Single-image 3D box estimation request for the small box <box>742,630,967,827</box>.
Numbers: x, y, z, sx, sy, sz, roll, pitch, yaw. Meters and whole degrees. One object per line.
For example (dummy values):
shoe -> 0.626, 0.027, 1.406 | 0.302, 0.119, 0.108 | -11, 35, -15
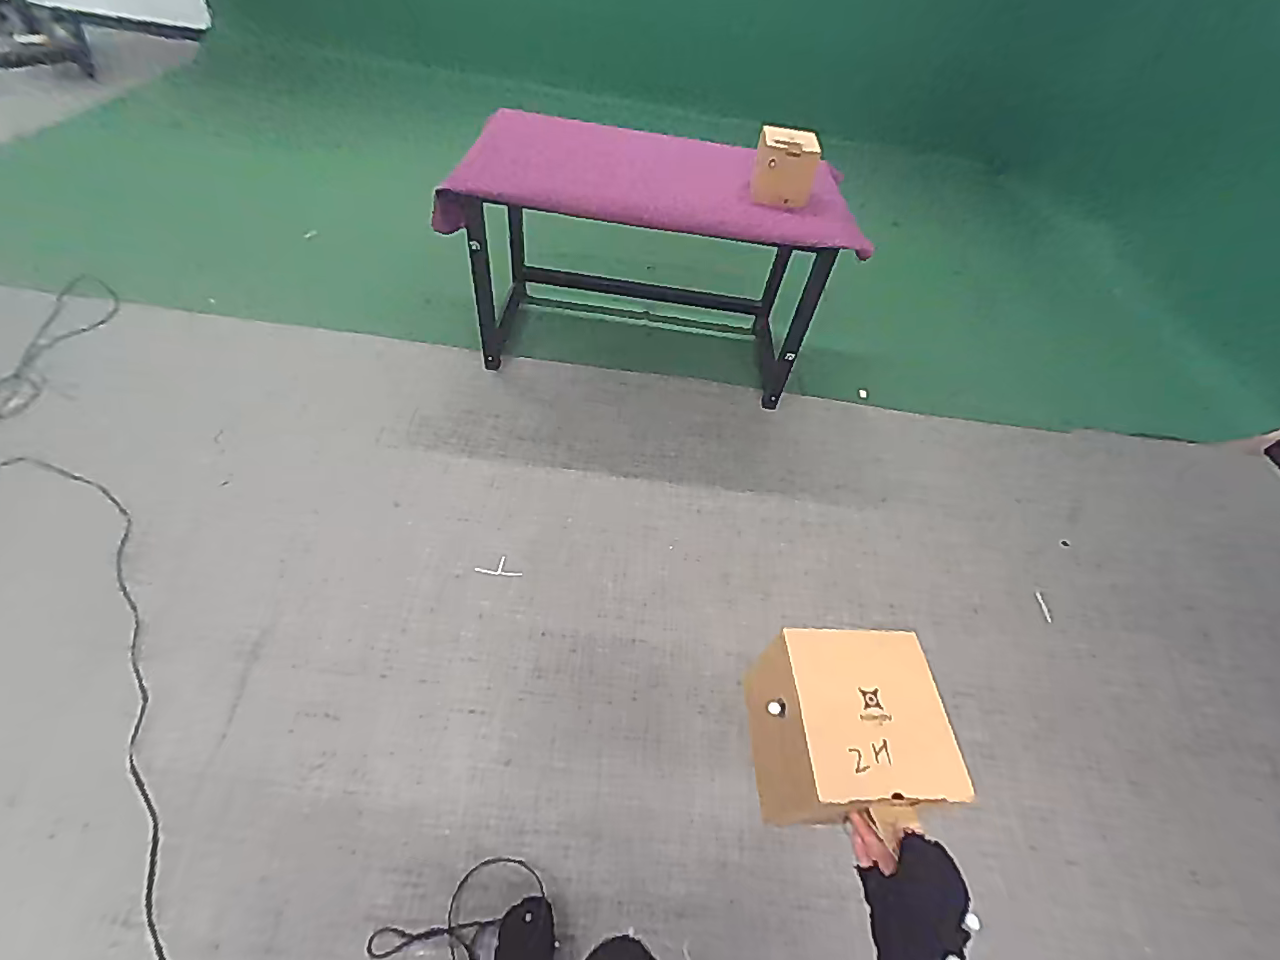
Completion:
small box -> 0.229, 0.295, 0.636 | 0.168, 0.176, 0.179 | 4, 52, -7
